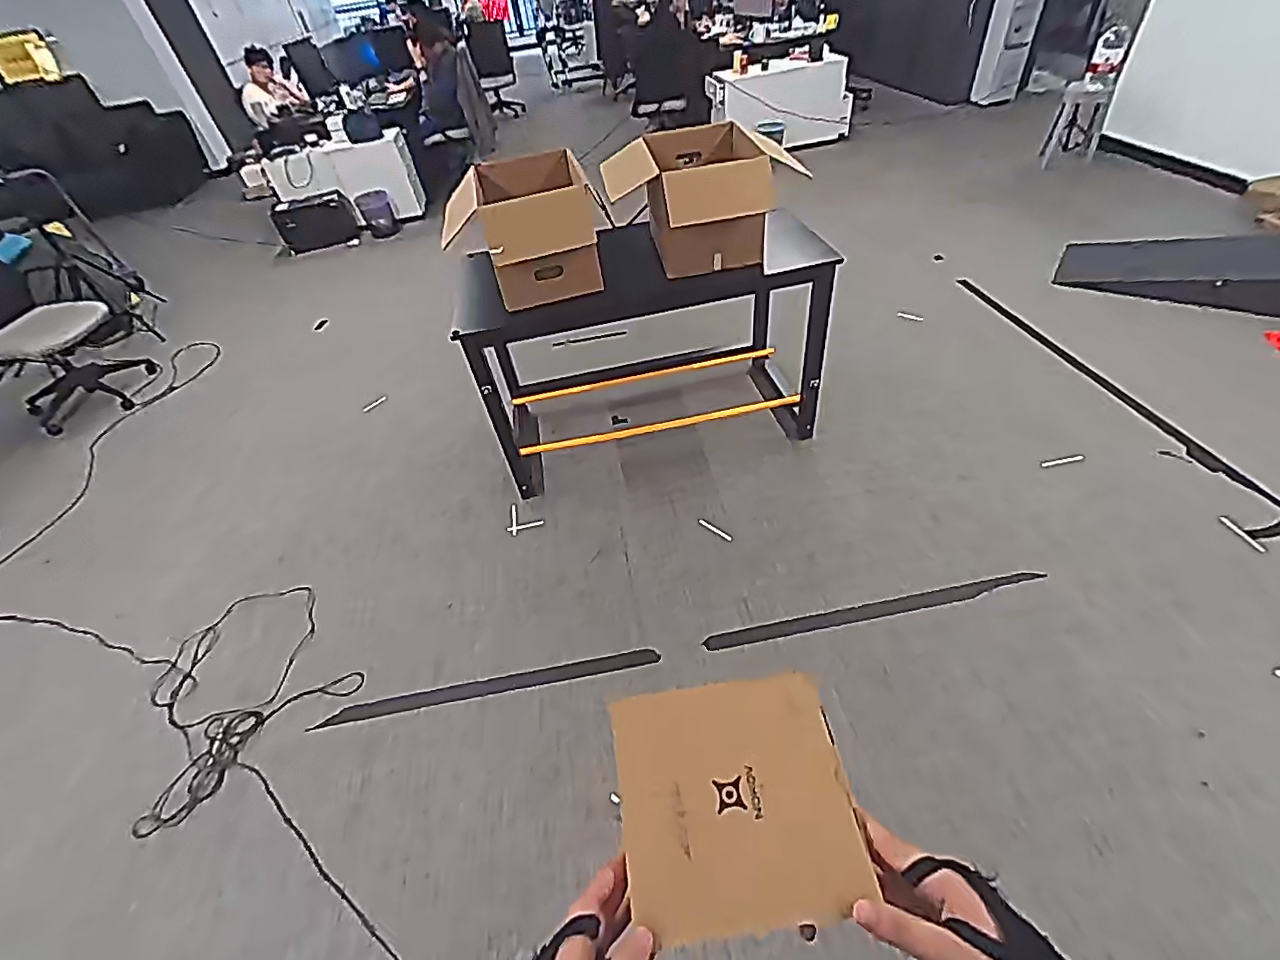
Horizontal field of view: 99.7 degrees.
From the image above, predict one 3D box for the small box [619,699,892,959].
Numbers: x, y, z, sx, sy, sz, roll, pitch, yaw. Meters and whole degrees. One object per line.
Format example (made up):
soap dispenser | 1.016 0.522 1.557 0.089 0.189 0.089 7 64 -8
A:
small box | 0.082 0.310 0.476 0.179 0.176 0.168 -9 53 -2
